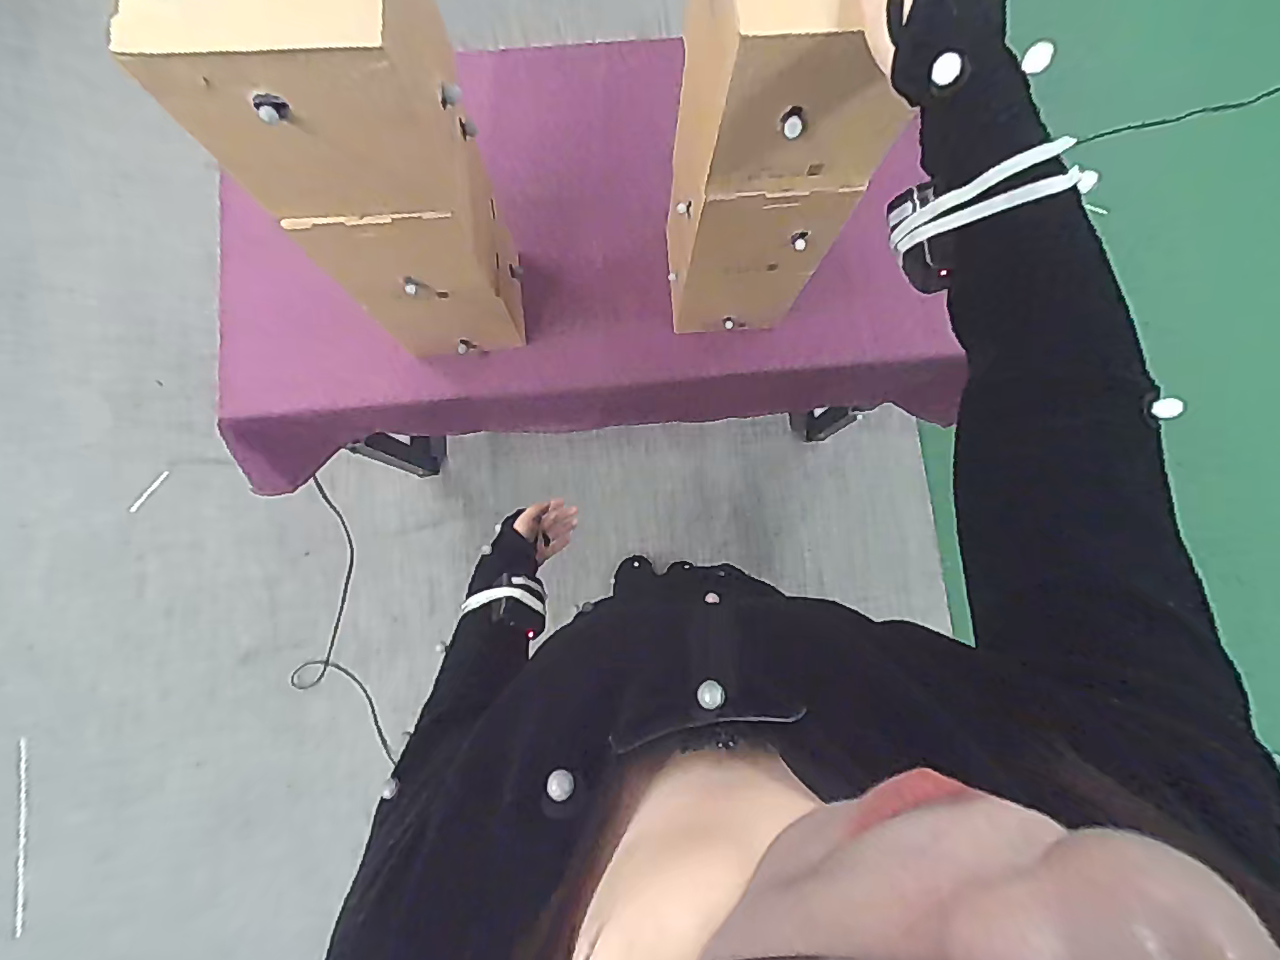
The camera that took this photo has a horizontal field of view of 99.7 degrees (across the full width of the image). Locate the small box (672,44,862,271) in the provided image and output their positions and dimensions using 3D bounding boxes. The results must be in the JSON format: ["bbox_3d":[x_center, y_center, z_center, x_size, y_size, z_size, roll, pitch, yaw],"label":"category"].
[{"bbox_3d":[0.130,-0.357,0.620,0.168,0.176,0.179,-5,82,-3],"label":"small box"}]

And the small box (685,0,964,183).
[{"bbox_3d":[0.134,-0.379,0.459,0.168,0.176,0.179,-5,82,-3],"label":"small box"}]

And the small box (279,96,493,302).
[{"bbox_3d":[-0.270,-0.323,0.604,0.168,0.176,0.179,-6,83,-2],"label":"small box"}]

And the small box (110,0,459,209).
[{"bbox_3d":[-0.261,-0.346,0.441,0.179,0.176,0.168,-3,82,-3],"label":"small box"}]

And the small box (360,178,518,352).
[{"bbox_3d":[-0.274,-0.294,0.767,0.179,0.176,0.168,-7,82,-3],"label":"small box"}]
